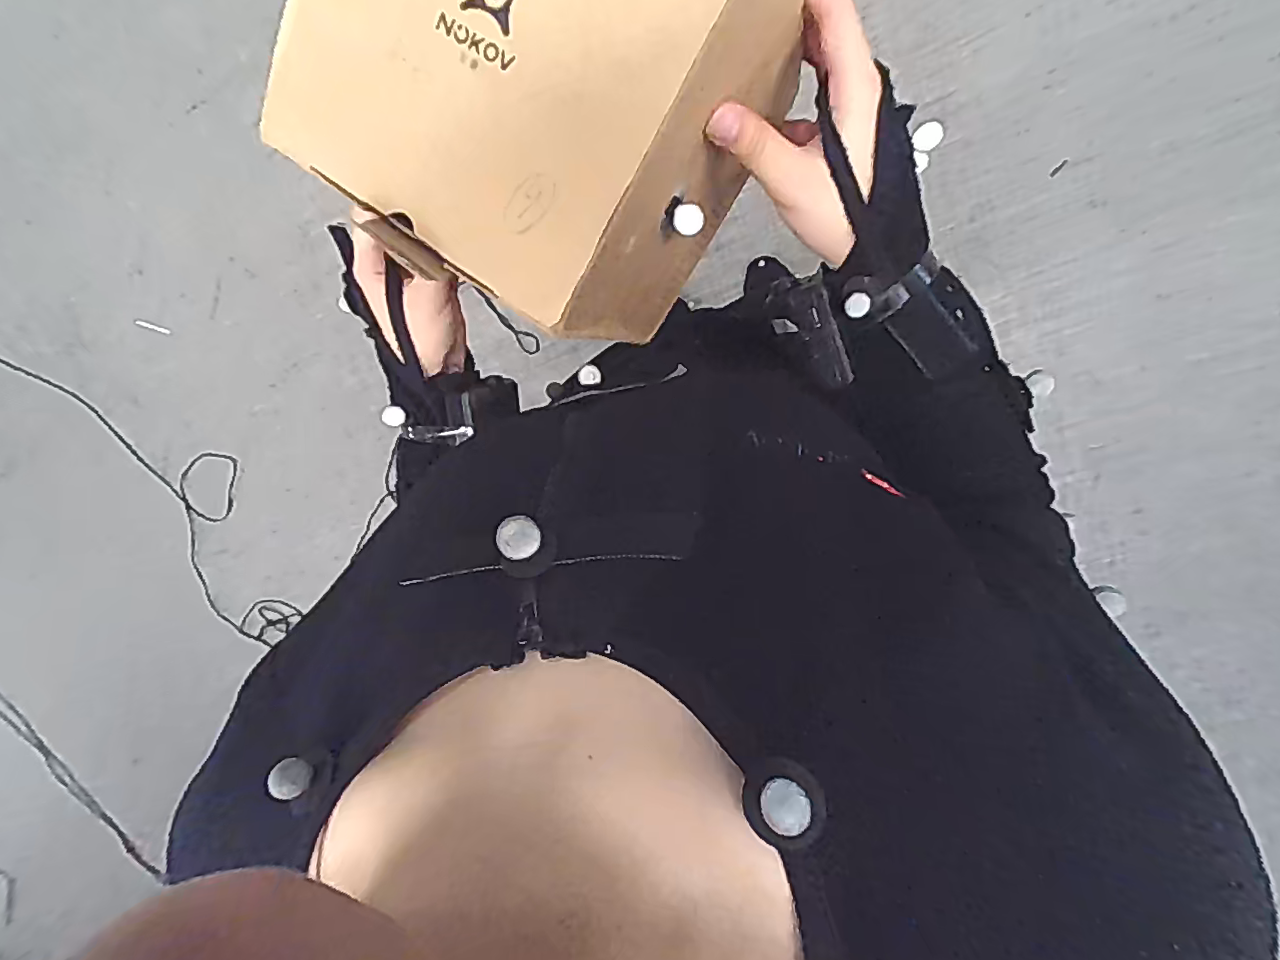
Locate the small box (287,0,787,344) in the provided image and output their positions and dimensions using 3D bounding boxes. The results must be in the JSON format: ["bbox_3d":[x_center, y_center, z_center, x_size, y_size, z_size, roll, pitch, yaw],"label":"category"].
[{"bbox_3d":[-0.034,-0.190,0.289,0.168,0.176,0.179,35,110,5],"label":"small box"}]
